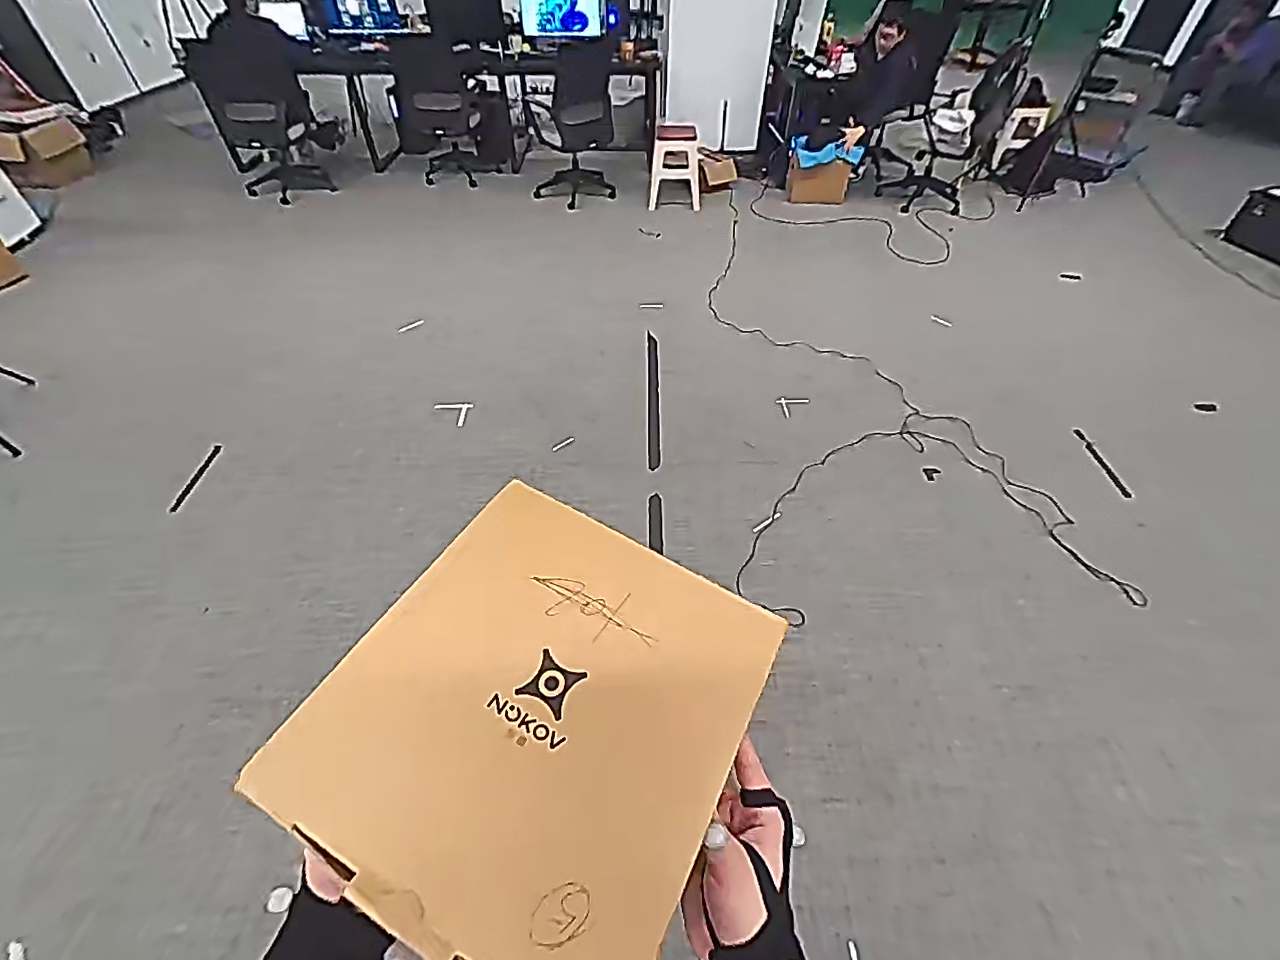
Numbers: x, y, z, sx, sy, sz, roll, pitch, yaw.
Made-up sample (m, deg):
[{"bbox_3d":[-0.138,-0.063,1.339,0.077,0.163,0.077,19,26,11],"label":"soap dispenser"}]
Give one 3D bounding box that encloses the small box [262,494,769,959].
[{"bbox_3d":[-0.050,0.148,0.308,0.168,0.176,0.179,26,52,12],"label":"small box"}]
